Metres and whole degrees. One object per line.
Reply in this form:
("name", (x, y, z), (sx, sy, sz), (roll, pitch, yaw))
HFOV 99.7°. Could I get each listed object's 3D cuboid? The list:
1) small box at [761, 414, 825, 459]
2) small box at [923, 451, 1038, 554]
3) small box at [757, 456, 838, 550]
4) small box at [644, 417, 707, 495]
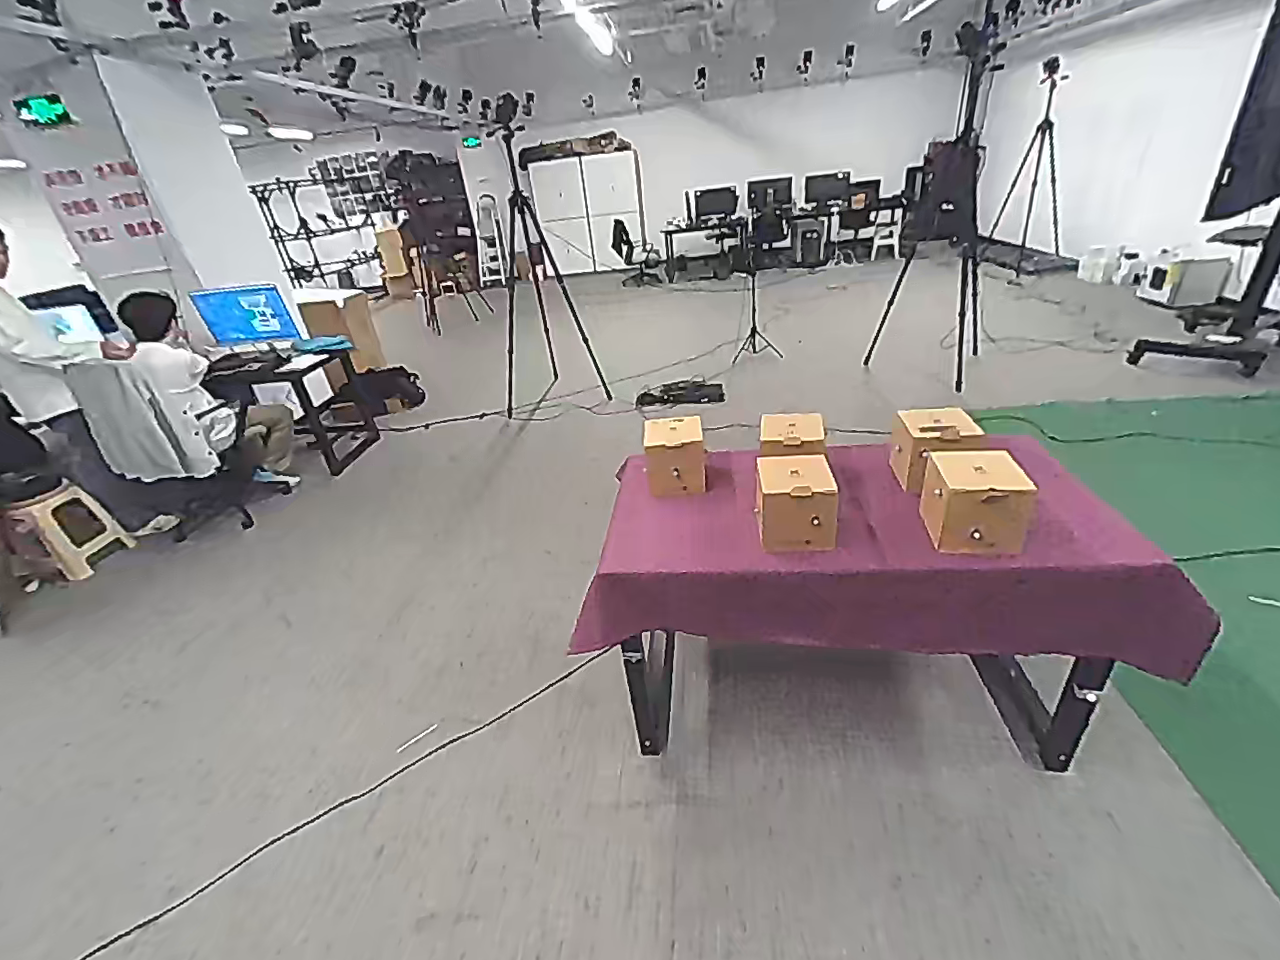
("small box", (0.426, -0.073, 1.516), (0.168, 0.176, 0.179), (0, 31, 15))
("small box", (0.755, 0.047, 1.222), (0.168, 0.176, 0.179), (-1, 30, 13))
("small box", (0.374, 0.058, 1.301), (0.168, 0.176, 0.179), (-2, 29, 9))
("small box", (0.106, -0.065, 1.582), (0.168, 0.176, 0.179), (-4, 31, 5))
